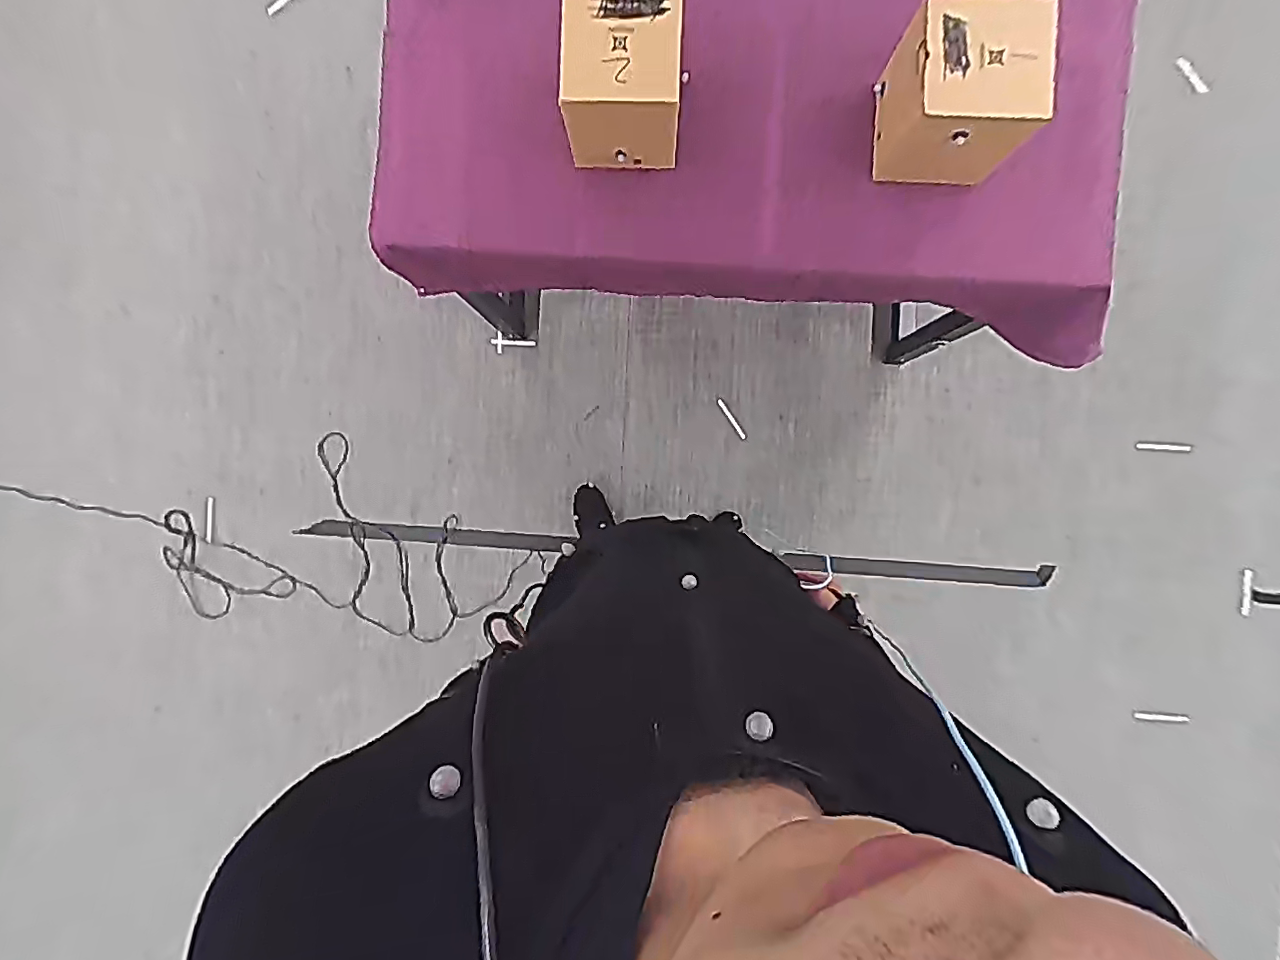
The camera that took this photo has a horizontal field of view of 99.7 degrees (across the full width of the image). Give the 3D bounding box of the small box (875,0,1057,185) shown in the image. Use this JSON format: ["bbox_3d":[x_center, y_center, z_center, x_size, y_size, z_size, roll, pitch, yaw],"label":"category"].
[{"bbox_3d":[0.469,-0.565,0.804,0.179,0.176,0.168,3,91,1],"label":"small box"}]
